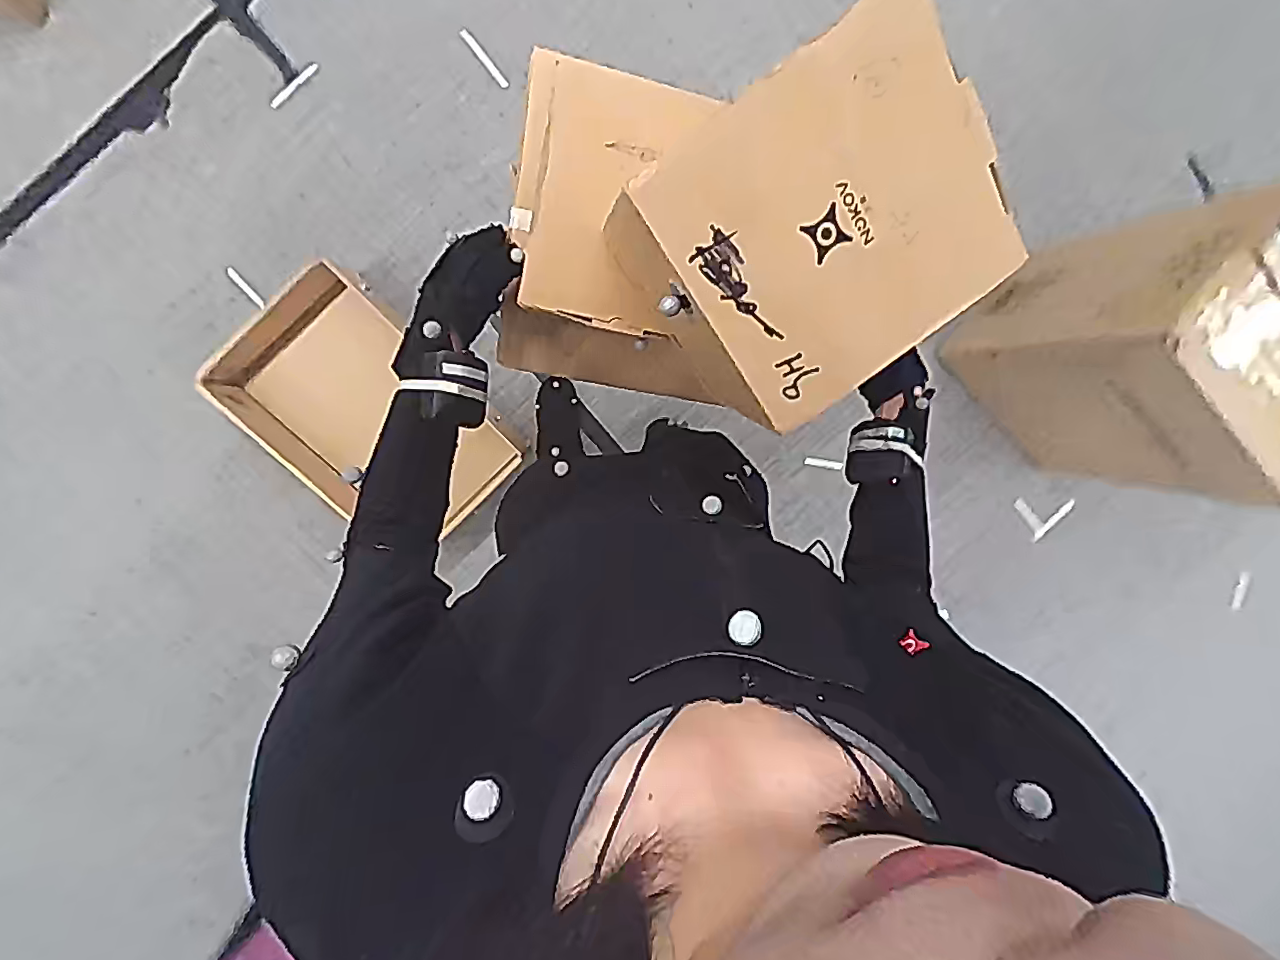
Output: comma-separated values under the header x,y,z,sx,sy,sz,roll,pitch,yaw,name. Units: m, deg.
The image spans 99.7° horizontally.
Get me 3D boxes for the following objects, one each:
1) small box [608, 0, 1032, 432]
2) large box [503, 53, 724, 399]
x,y,z,sx,sy,sz,roll,pitch,yaw,name
0.095,-0.161,0.358,0.179,0.176,0.168,-37,109,4,small box
0.035,-0.293,0.741,0.408,0.320,0.320,7,106,-12,large box
